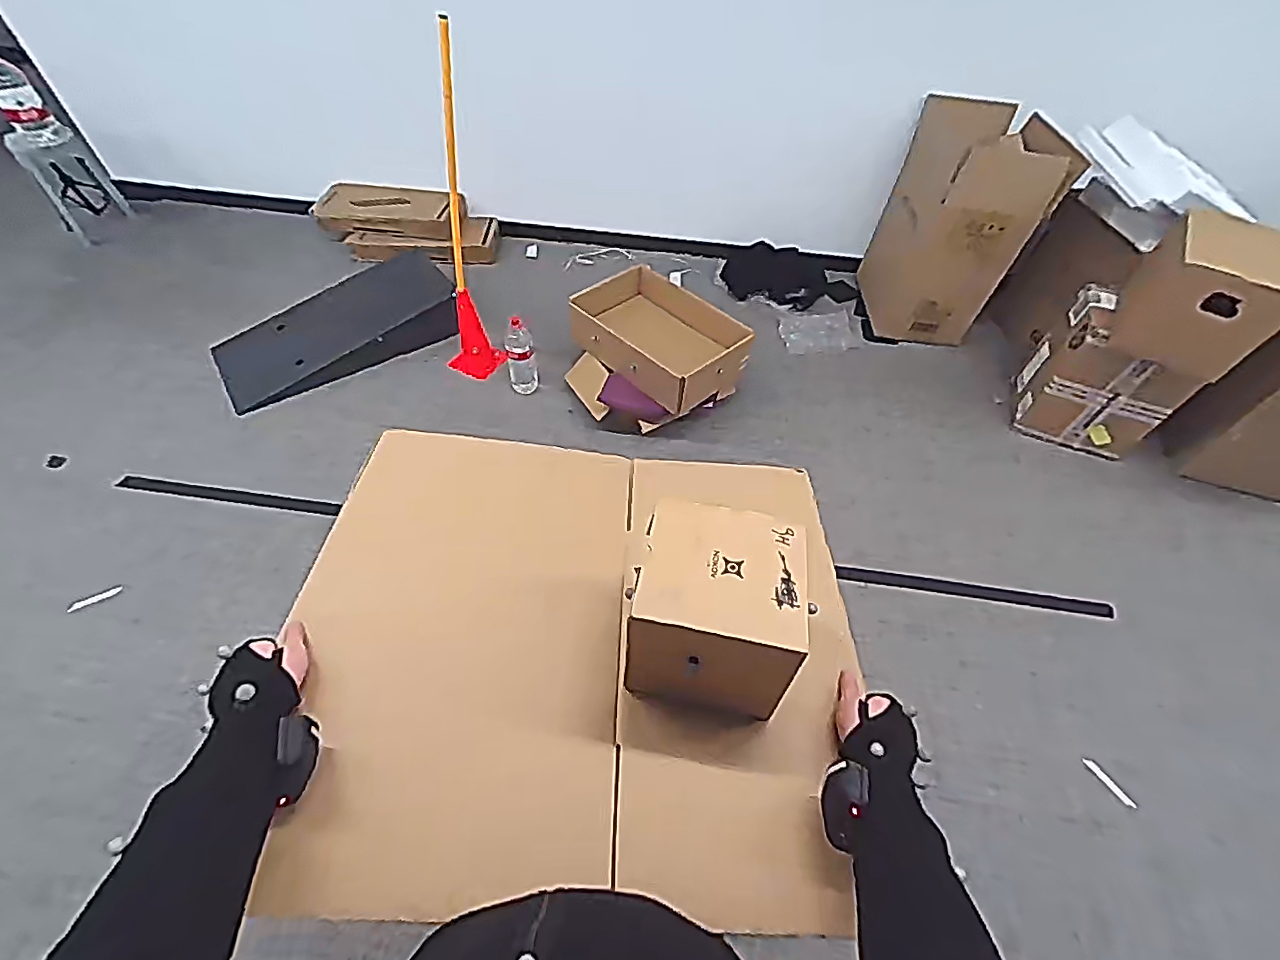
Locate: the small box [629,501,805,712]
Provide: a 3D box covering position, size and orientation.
[{"bbox_3d":[0.087,0.150,0.636,0.179,0.176,0.168,10,47,6],"label":"small box"}]
